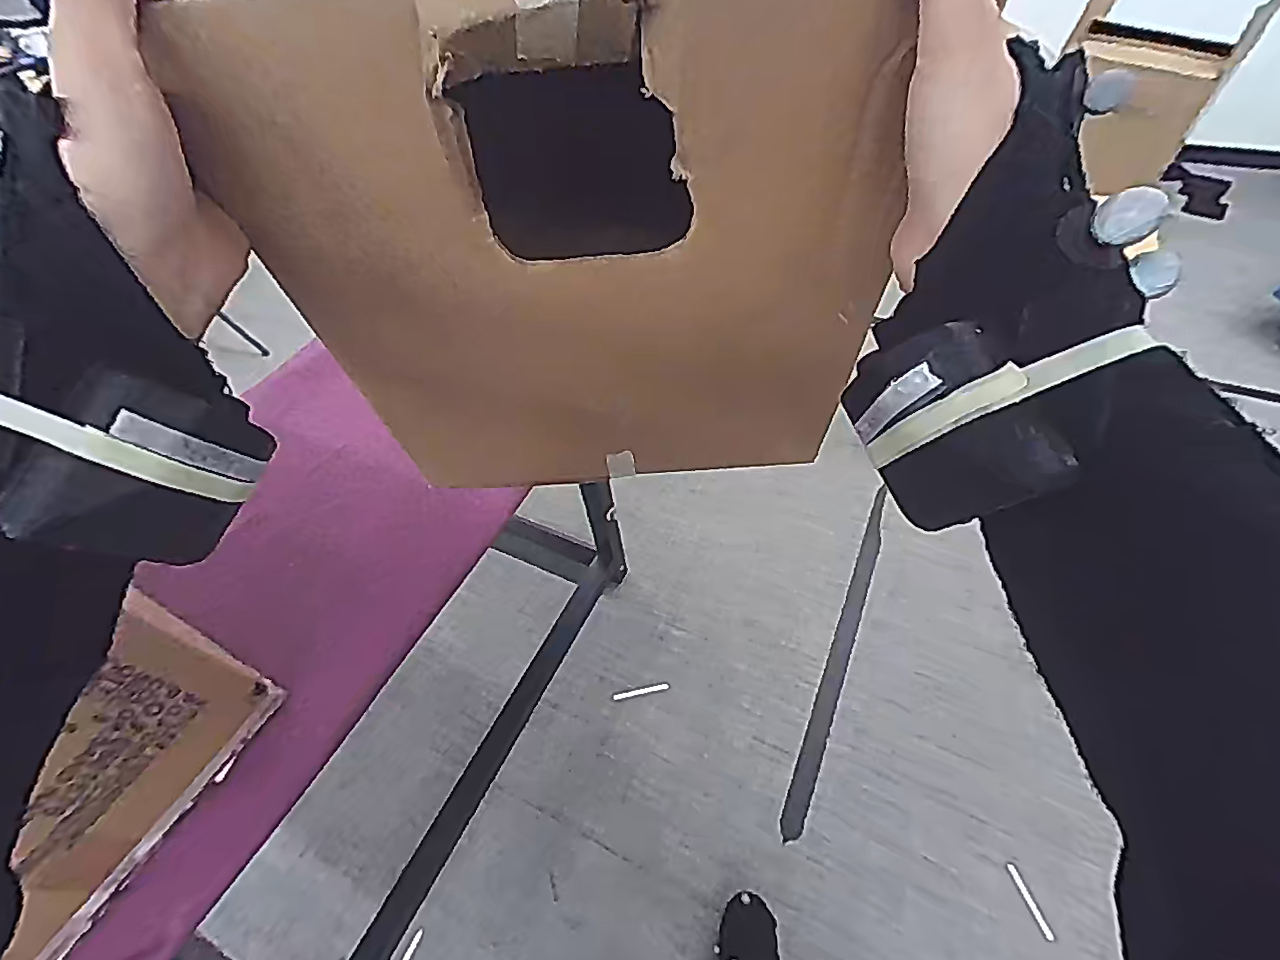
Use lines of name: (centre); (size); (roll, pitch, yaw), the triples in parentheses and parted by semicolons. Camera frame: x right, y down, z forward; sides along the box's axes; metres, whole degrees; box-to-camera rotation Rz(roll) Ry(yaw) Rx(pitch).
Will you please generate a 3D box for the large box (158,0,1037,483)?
large box: (-0.019, -0.253, 0.407); (0.320, 0.320, 0.408); (-5, 59, 1)
